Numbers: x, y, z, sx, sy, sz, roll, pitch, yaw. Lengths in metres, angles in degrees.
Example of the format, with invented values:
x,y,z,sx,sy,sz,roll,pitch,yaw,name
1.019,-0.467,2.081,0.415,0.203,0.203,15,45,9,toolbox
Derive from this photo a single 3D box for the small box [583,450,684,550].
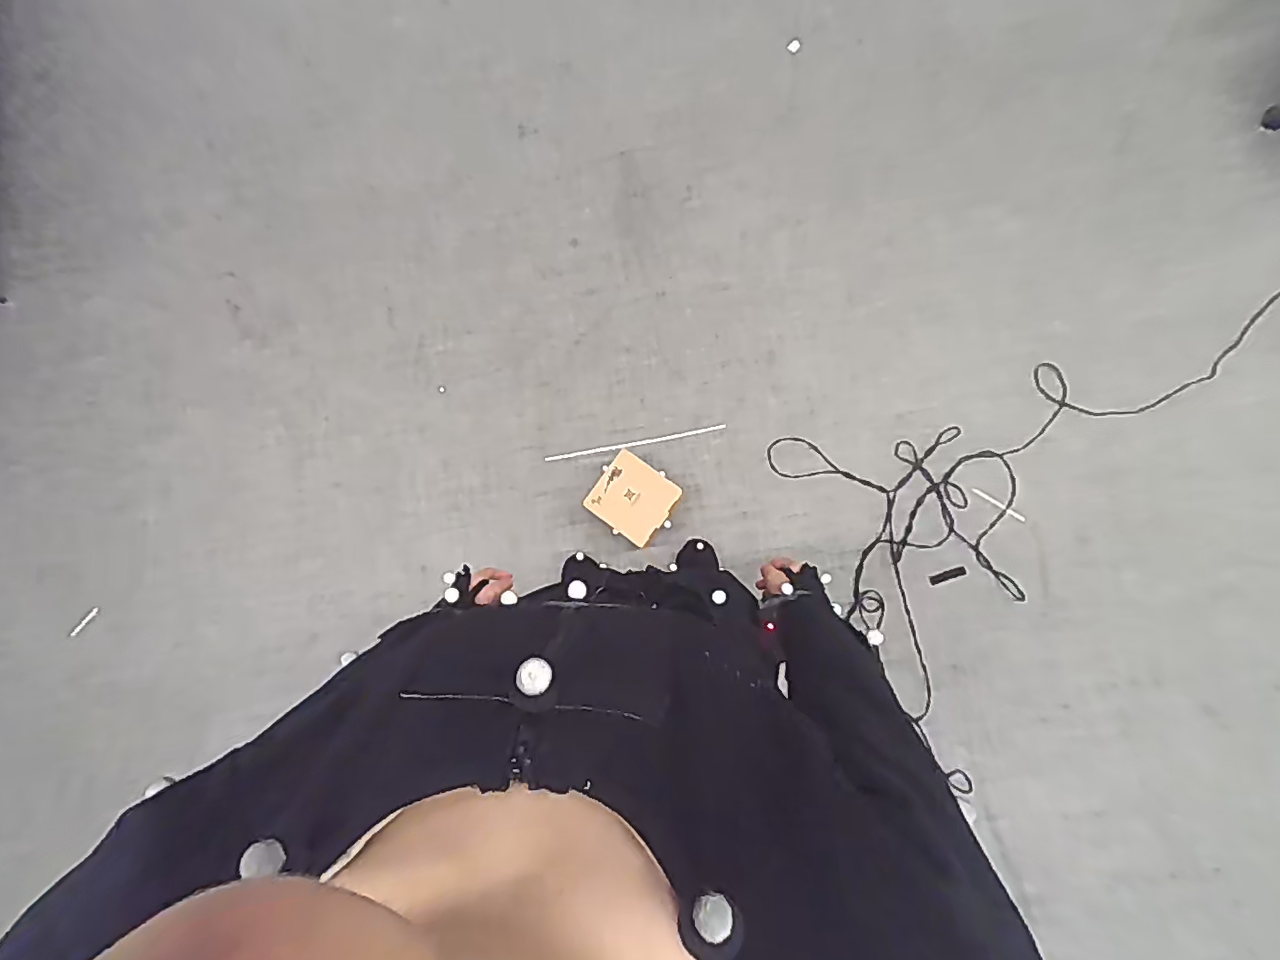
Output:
x,y,z,sx,sy,sz,roll,pitch,yaw,name
-0.009,0.051,1.305,0.179,0.176,0.168,36,87,7,small box
